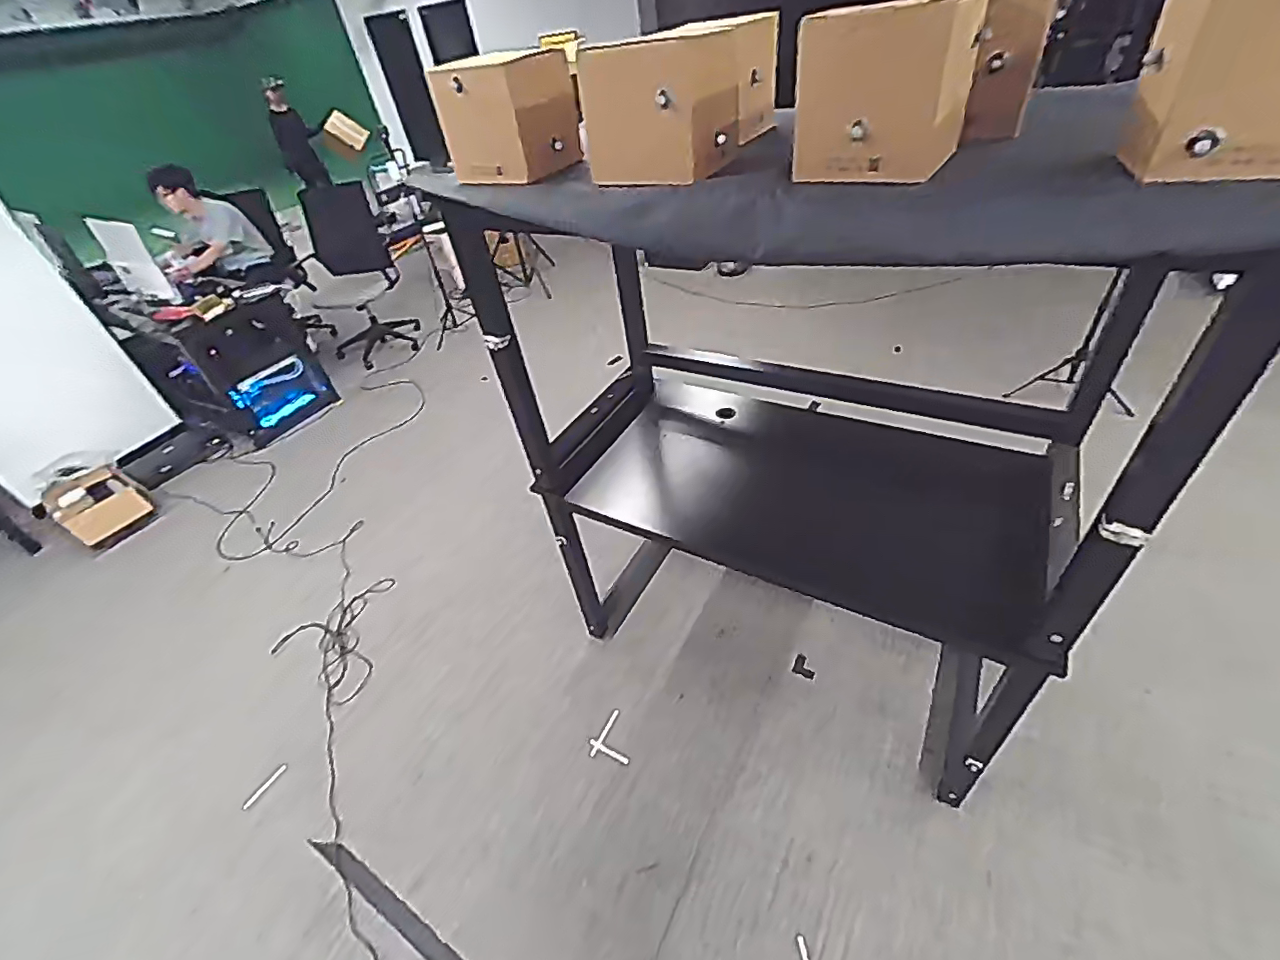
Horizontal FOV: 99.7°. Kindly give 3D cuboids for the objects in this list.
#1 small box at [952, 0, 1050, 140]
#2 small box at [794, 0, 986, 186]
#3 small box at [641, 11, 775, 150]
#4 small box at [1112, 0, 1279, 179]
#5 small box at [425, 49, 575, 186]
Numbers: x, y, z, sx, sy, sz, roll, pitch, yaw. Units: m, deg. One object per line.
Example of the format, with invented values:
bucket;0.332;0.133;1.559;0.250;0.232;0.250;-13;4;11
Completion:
small box;0.467;-0.598;0.771;0.168;0.176;0.179;16;48;25
small box;0.300;-0.482;0.670;0.168;0.176;0.179;19;48;30
small box;0.126;-0.699;0.956;0.179;0.176;0.168;17;48;28
small box;0.574;-0.380;0.492;0.168;0.176;0.179;13;41;24
small box;-0.229;-0.627;0.938;0.168;0.176;0.179;15;46;25
